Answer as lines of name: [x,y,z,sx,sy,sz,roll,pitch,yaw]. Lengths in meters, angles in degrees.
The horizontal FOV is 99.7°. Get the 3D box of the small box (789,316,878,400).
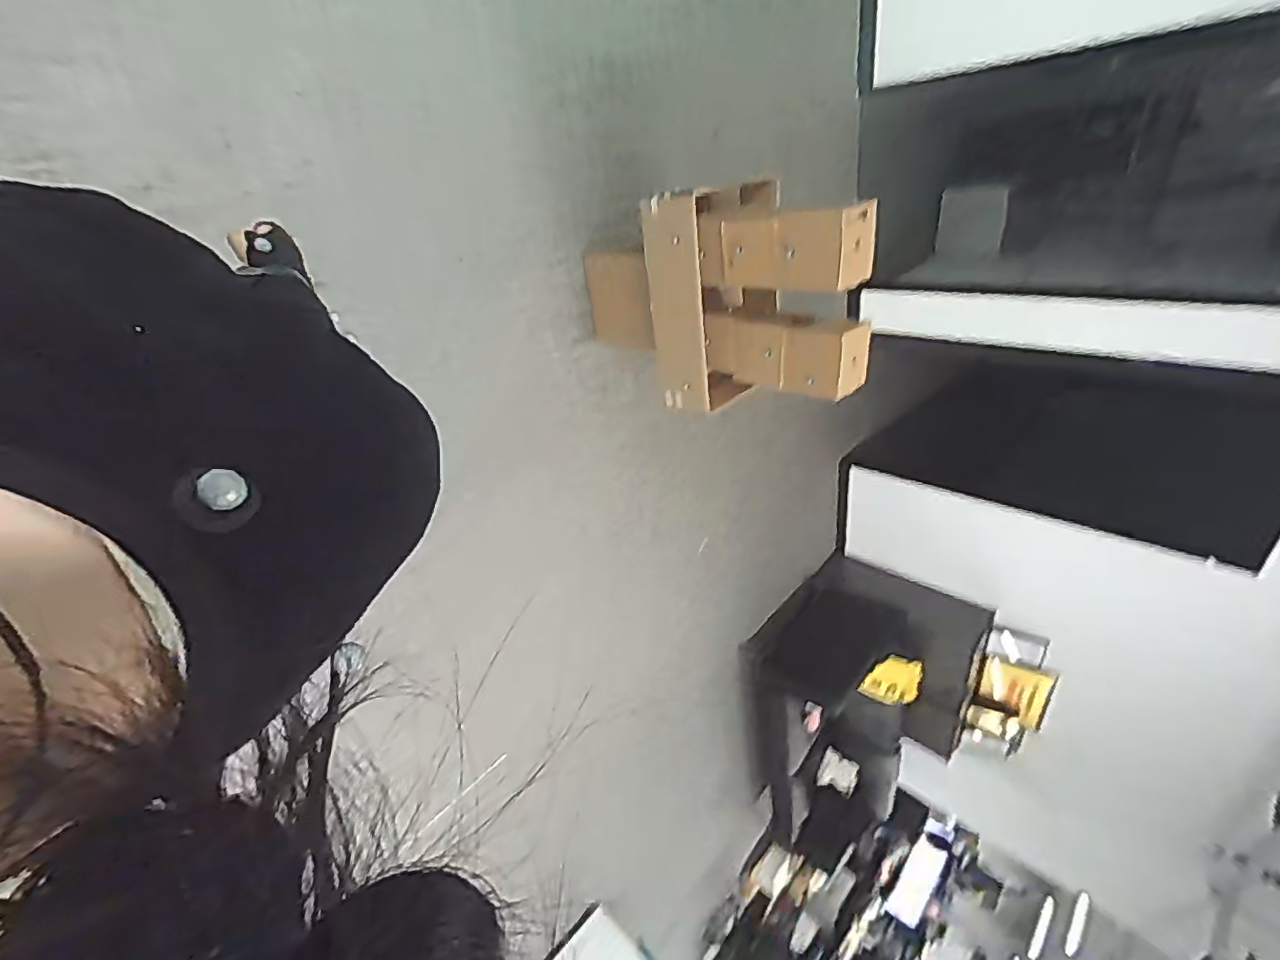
small box: [0.517,-0.336,1.463,0.168,0.176,0.179,-29,125,-36]

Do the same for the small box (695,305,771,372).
small box: [0.282,-0.441,1.667,0.179,0.176,0.168,-27,124,-37]

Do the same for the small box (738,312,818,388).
small box: [0.396,-0.383,1.564,0.168,0.176,0.179,-28,125,-36]

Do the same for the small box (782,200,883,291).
small box: [0.459,-0.569,1.306,0.168,0.176,0.179,-31,127,-35]
